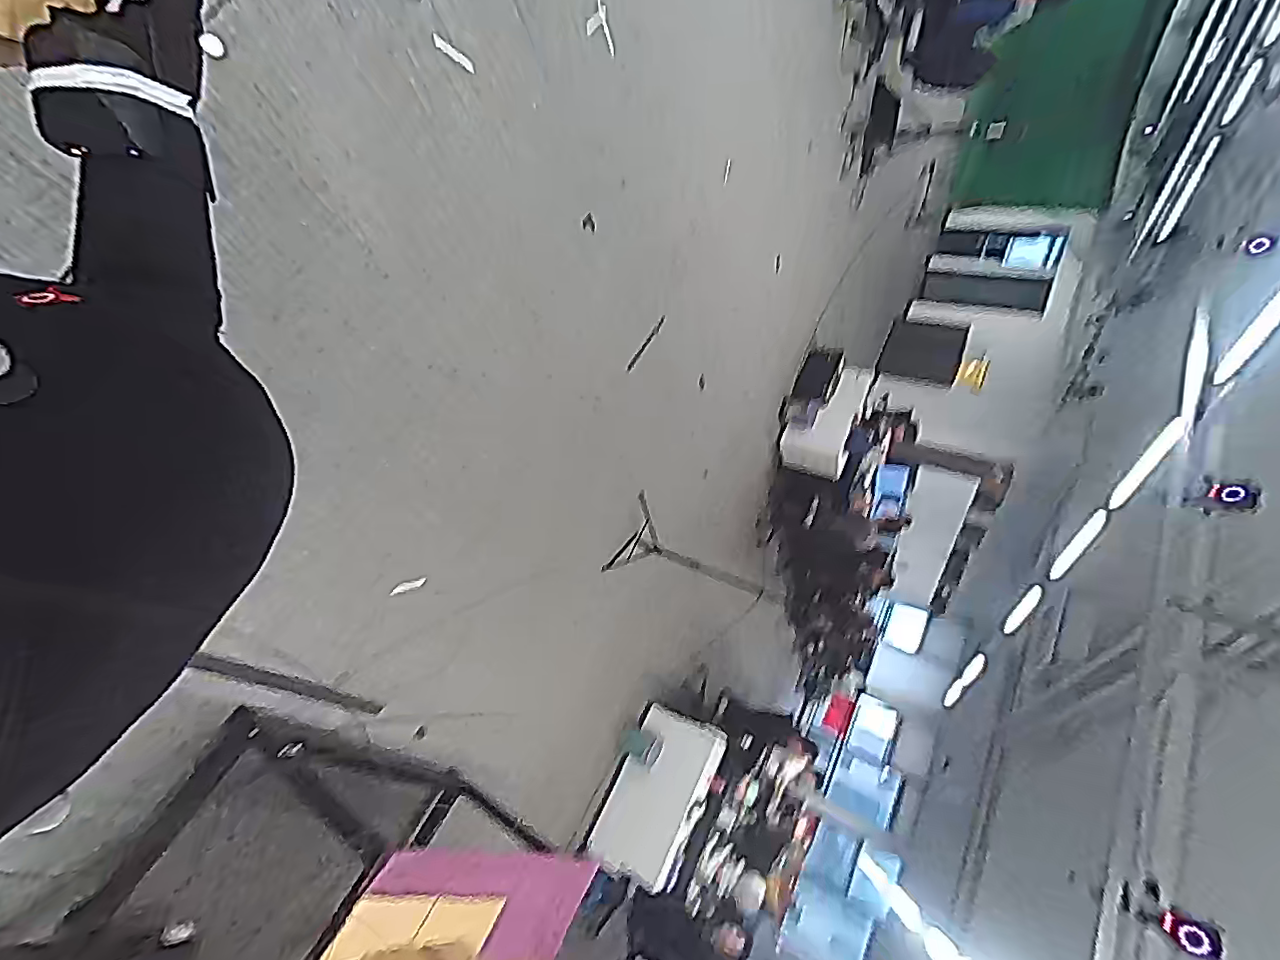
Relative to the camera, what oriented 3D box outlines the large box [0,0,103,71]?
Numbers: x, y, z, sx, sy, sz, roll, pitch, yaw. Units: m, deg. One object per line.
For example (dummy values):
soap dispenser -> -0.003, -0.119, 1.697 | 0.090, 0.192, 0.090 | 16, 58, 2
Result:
large box -> -0.553, -0.440, 0.218 | 0.408, 0.320, 0.320 | -14, 124, -60
